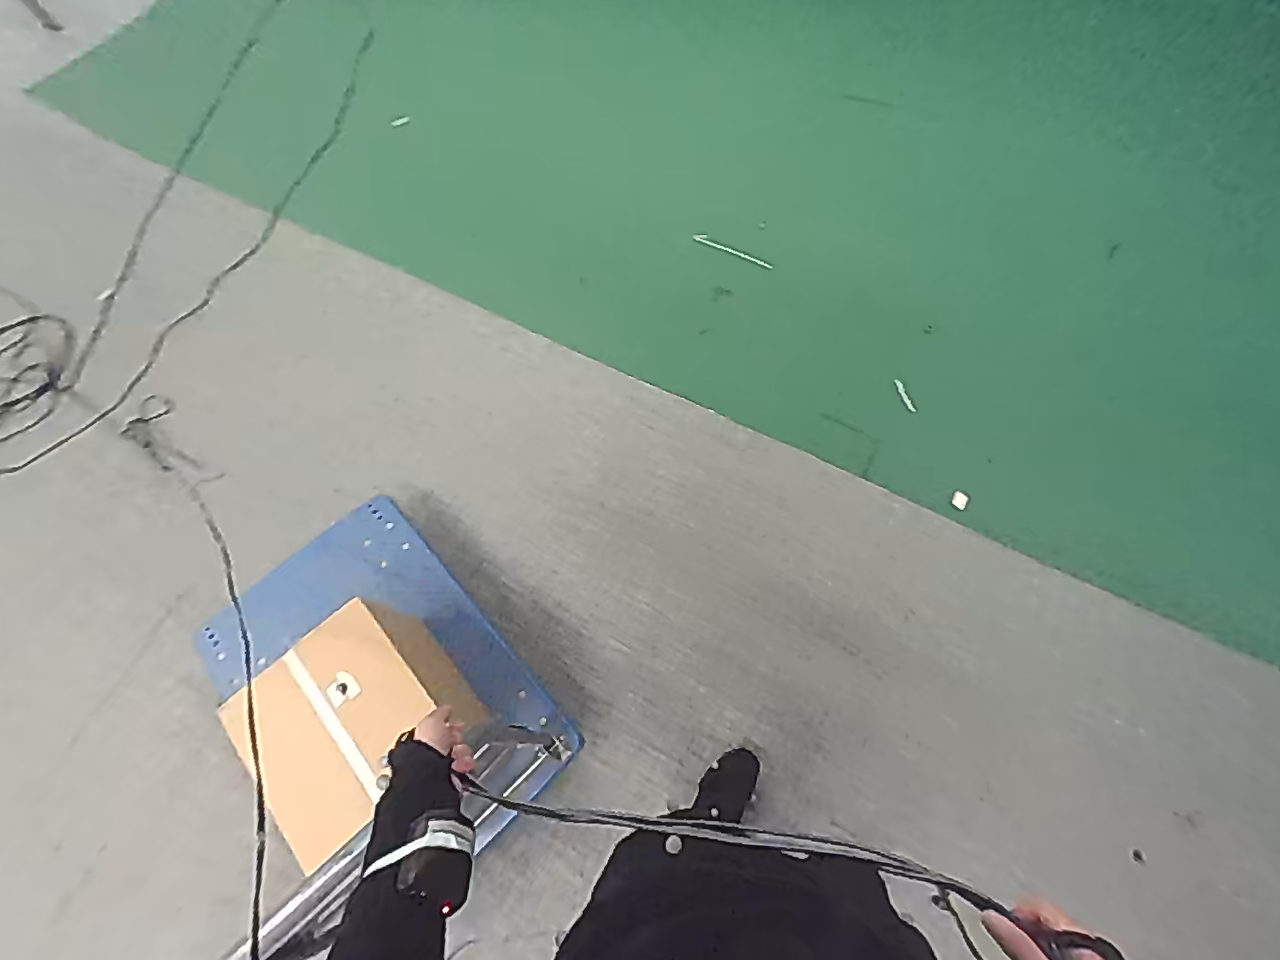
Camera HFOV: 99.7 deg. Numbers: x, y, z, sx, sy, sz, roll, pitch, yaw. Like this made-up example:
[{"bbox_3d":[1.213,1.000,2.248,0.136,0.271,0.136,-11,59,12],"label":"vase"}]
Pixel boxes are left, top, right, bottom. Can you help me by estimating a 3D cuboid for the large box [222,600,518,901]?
[{"bbox_3d":[-0.520,0.519,1.107,0.320,0.320,0.408,-41,71,-14],"label":"large box"}]
